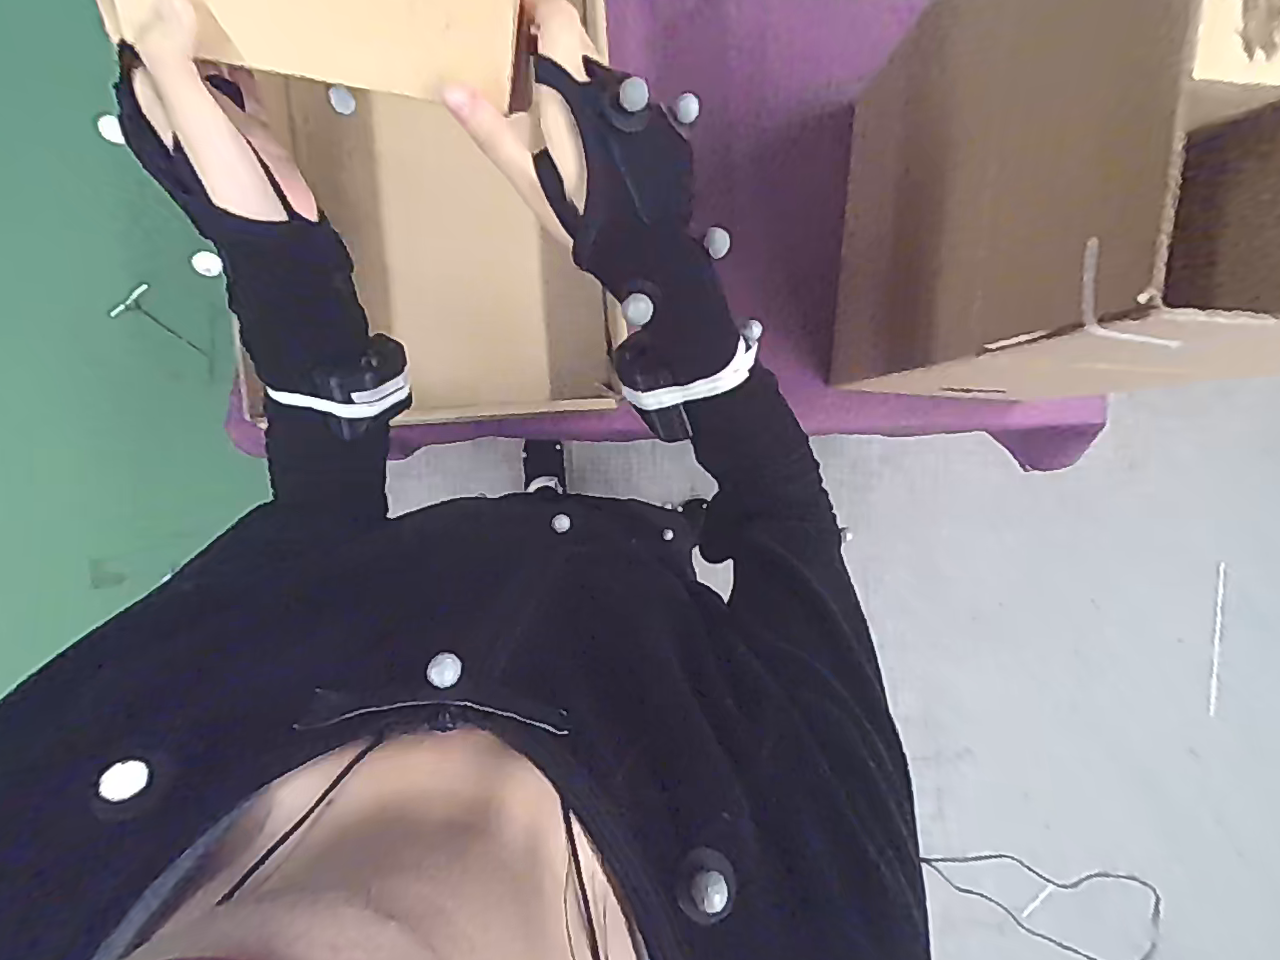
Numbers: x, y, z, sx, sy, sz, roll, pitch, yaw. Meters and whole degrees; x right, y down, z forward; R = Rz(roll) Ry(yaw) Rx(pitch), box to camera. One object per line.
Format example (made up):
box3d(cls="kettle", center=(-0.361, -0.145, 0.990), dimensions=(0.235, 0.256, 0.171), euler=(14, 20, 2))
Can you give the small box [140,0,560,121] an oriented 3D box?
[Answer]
box3d(cls="small box", center=(-0.125, -0.298, 0.268), dimensions=(0.168, 0.176, 0.179), euler=(6, 124, -8))
